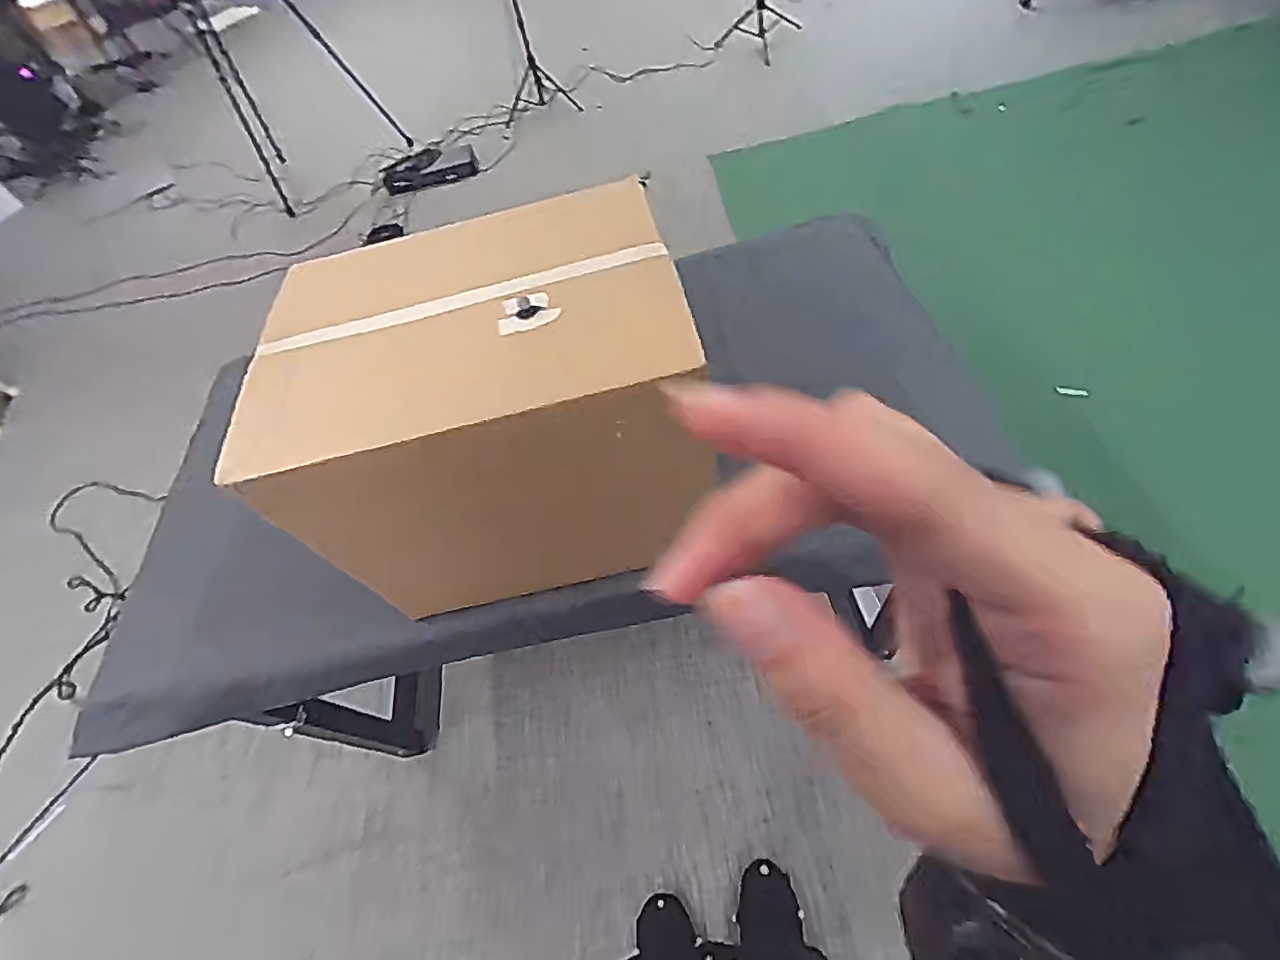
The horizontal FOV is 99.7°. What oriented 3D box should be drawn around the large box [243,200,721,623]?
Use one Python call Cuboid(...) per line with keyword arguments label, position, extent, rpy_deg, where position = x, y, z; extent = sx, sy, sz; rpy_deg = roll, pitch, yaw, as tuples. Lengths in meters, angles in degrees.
Cuboid(label="large box", position=(-0.139, -0.069, 0.647), extent=(0.408, 0.320, 0.320), rpy_deg=(-14, 53, 1))
